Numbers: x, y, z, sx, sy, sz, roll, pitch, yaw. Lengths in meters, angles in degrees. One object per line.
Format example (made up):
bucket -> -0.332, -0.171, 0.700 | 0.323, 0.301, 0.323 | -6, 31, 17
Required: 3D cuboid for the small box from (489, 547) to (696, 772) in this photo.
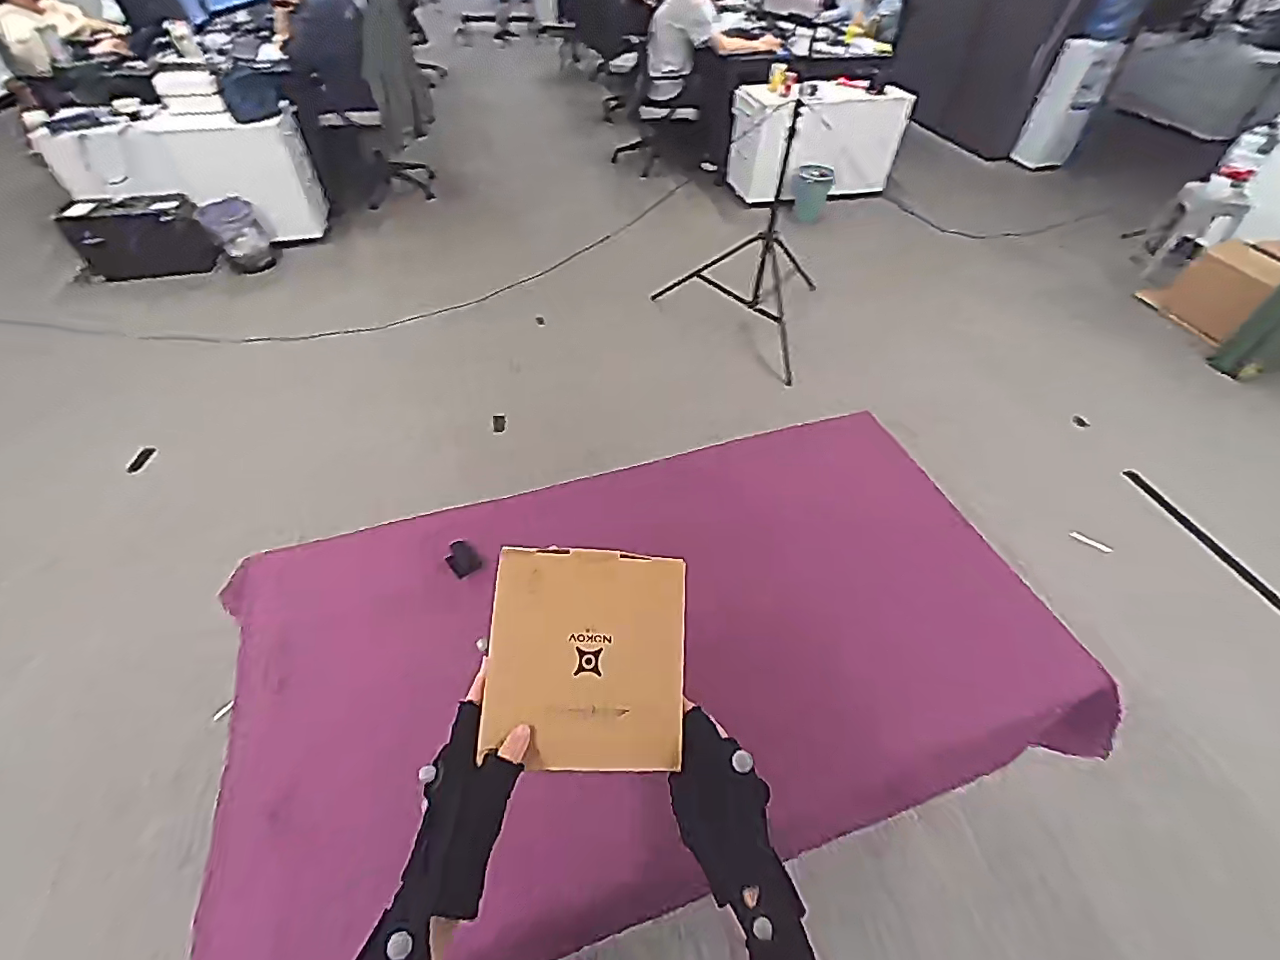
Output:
small box -> -0.047, 0.169, 0.527 | 0.168, 0.176, 0.179 | 5, 74, -8
